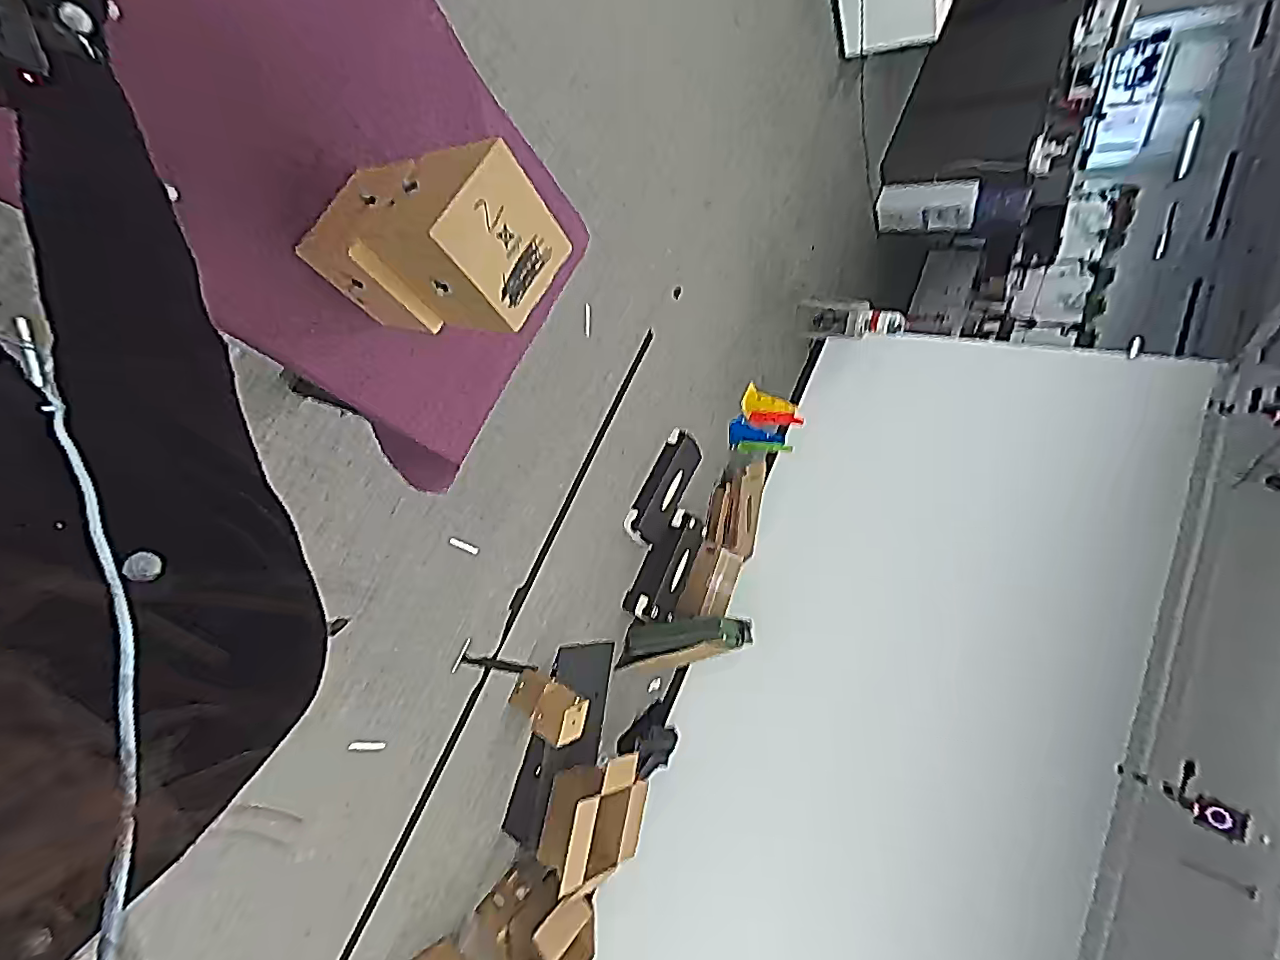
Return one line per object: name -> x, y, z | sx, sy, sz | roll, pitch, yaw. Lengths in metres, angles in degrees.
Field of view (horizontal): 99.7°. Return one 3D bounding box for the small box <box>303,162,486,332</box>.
small box -> -0.385, -0.355, 0.844 | 0.168, 0.176, 0.179 | 46, 65, -52
